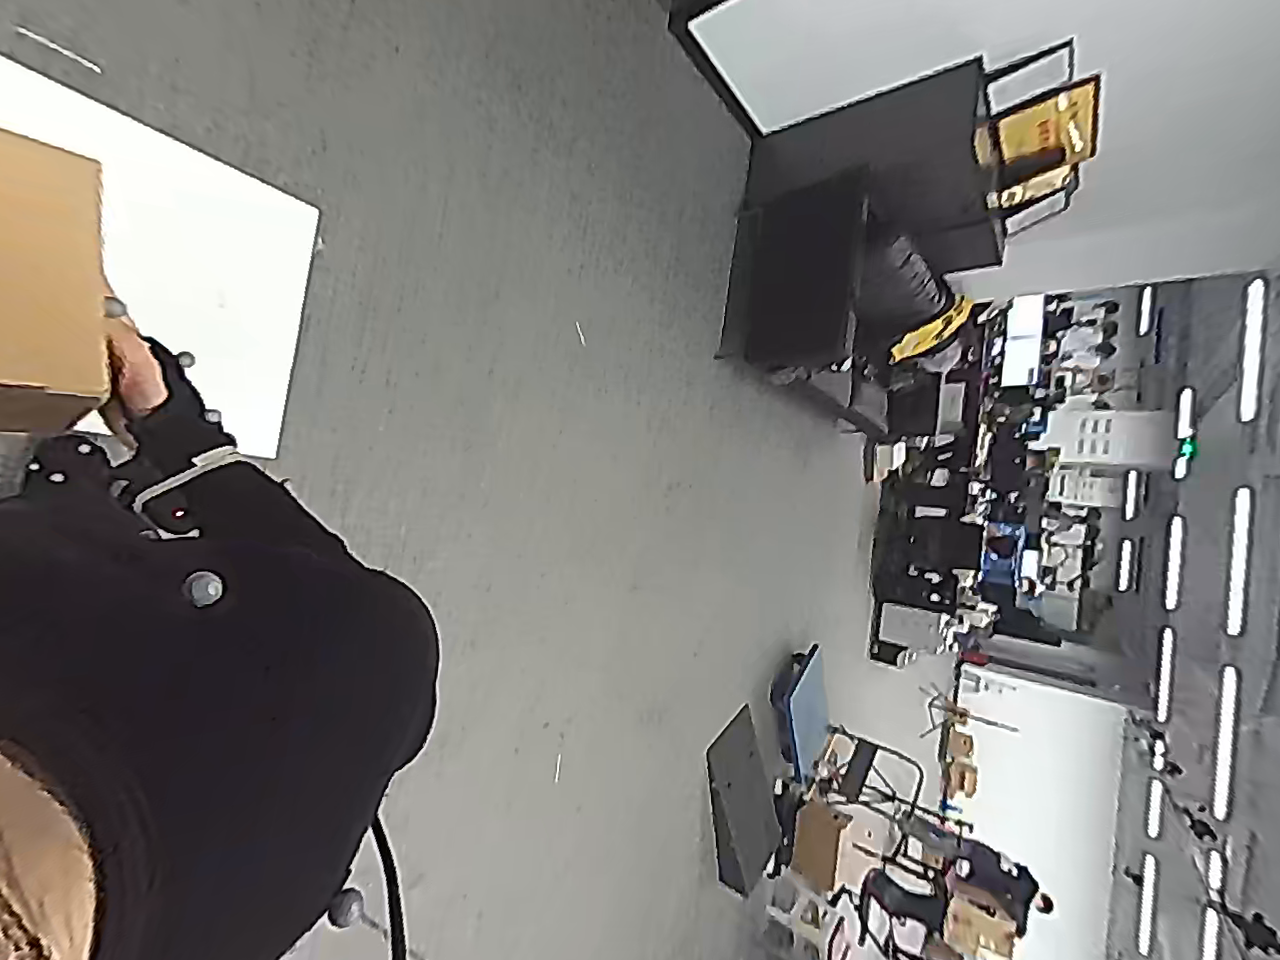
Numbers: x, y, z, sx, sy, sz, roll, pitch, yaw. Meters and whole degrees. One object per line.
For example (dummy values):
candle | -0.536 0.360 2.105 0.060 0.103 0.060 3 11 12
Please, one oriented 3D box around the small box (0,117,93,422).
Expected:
small box | -0.494 -0.141 0.355 0.168 0.176 0.179 -3 88 -54
